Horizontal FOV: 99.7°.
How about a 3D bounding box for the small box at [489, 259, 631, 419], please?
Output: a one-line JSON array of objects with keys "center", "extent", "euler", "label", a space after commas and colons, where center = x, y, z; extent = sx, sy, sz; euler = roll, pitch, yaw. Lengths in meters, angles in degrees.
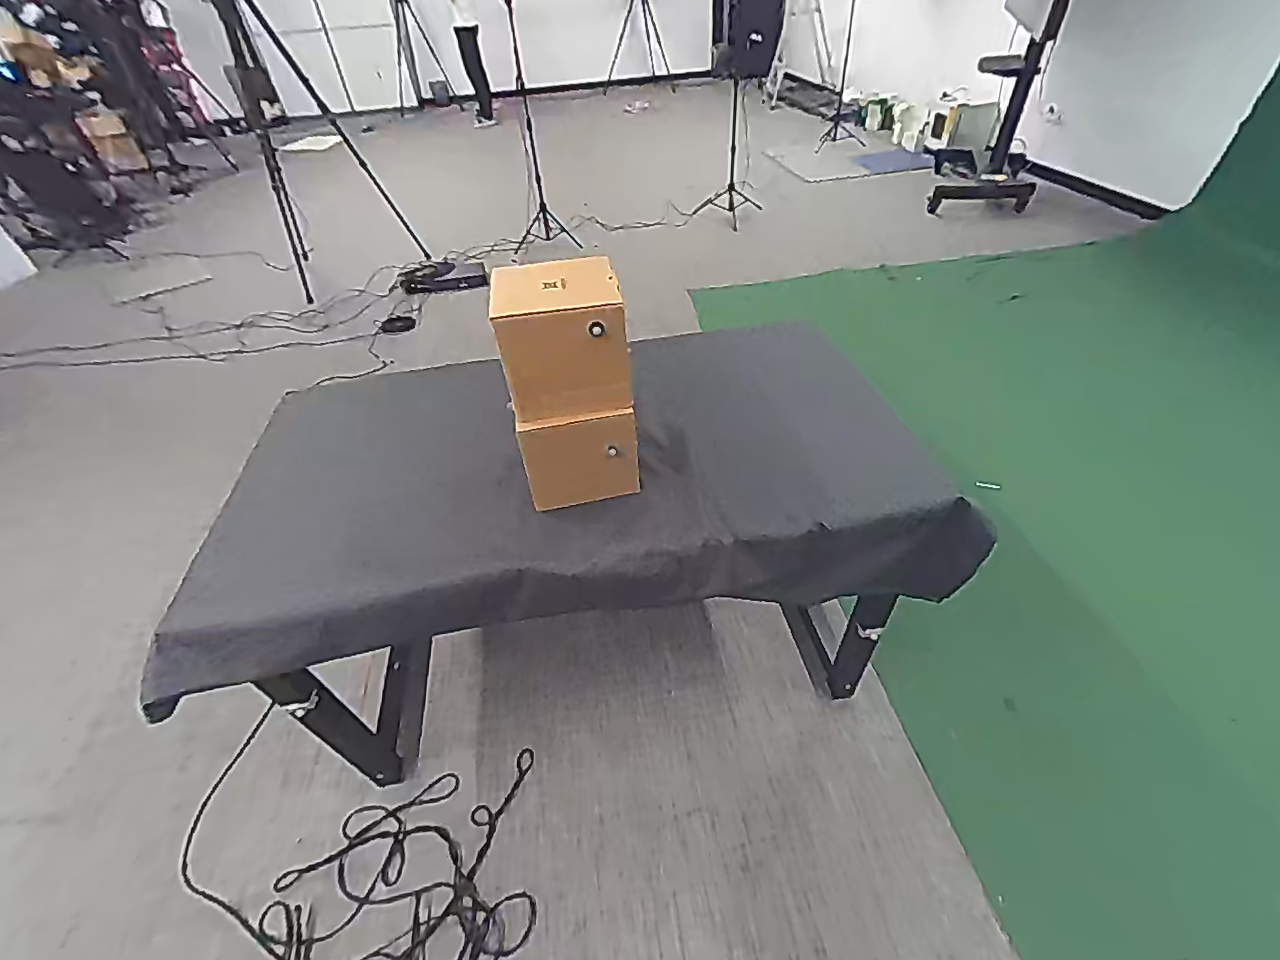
[{"center": [-0.114, -0.206, 0.798], "extent": [0.179, 0.176, 0.168], "euler": [-9, 43, -6], "label": "small box"}]
